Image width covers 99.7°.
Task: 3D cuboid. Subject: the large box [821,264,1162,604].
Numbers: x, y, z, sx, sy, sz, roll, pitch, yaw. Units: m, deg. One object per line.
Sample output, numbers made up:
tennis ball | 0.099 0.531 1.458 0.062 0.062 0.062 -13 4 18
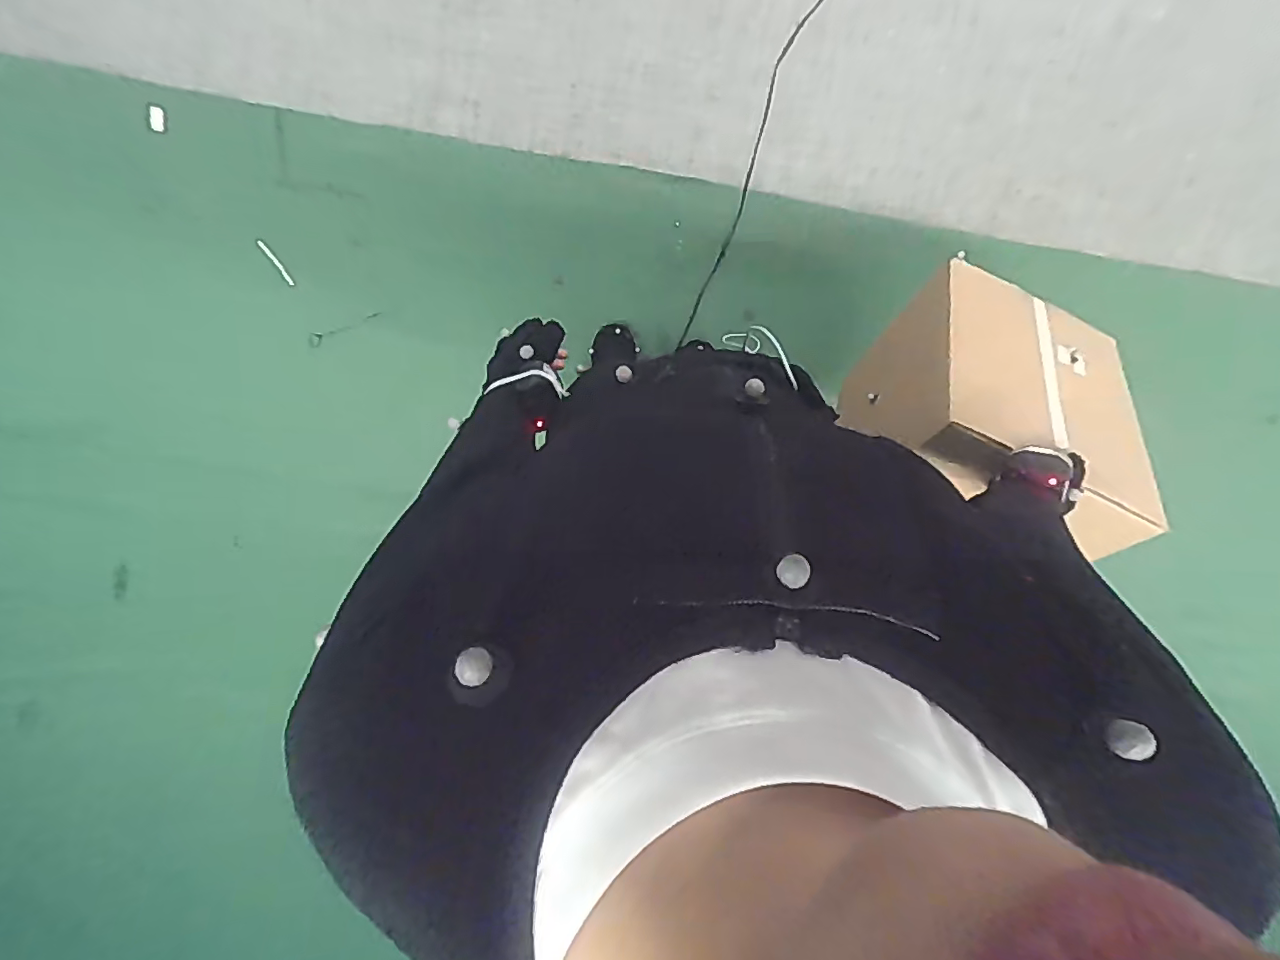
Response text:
large box | 0.538 -0.071 0.905 0.320 0.408 0.320 27 144 -2
